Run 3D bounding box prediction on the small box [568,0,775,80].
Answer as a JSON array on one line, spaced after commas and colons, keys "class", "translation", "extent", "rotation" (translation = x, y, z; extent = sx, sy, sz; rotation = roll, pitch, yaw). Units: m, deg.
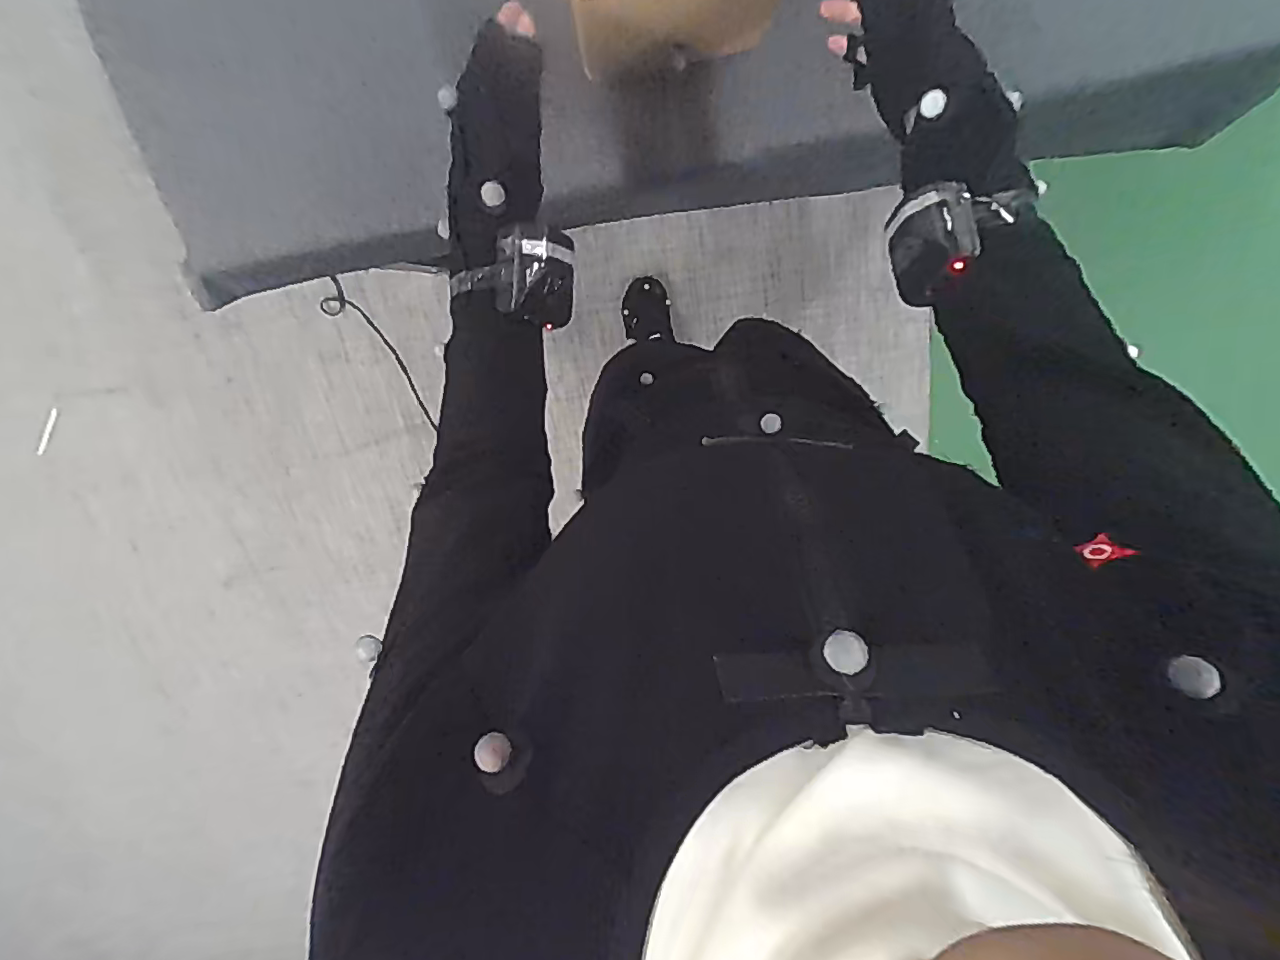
[{"class": "small box", "translation": [0.018, -0.464, 0.442], "extent": [0.179, 0.176, 0.168], "rotation": [-10, 108, 2]}]
